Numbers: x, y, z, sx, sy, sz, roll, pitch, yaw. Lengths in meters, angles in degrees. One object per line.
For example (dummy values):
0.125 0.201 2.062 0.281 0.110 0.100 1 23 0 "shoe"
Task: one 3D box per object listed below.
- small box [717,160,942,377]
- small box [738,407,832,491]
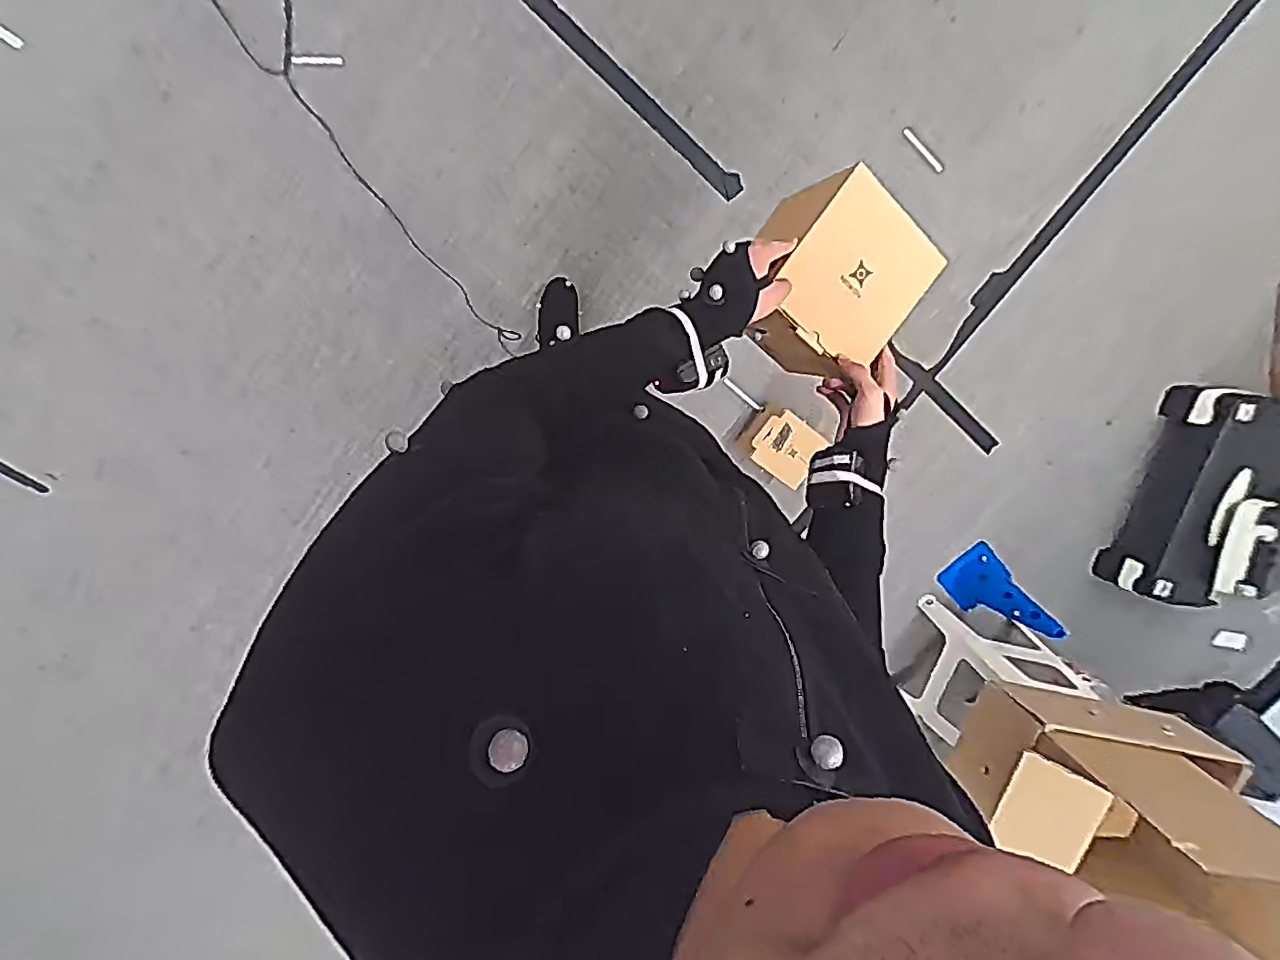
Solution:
0.226 -0.256 0.689 0.168 0.176 0.179 34 95 -20 "small box"
0.411 -0.099 1.571 0.179 0.176 0.168 35 100 -14 "small box"
